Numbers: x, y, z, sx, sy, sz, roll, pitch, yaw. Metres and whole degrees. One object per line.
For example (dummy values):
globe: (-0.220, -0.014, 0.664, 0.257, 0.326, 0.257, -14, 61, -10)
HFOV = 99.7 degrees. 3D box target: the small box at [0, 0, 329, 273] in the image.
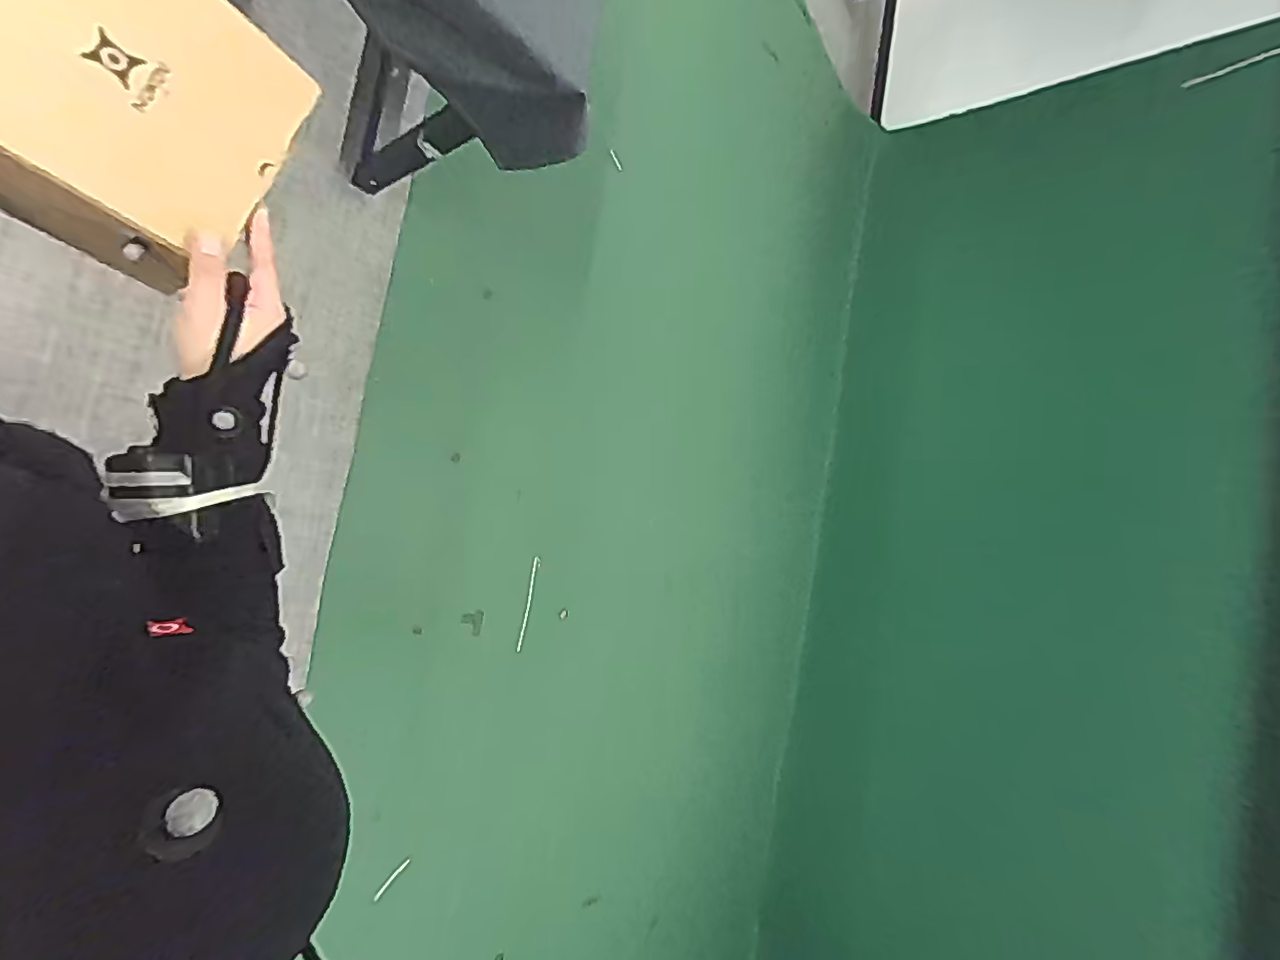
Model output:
small box: (-0.368, -0.266, 0.374, 0.179, 0.176, 0.168, 33, 72, -50)
